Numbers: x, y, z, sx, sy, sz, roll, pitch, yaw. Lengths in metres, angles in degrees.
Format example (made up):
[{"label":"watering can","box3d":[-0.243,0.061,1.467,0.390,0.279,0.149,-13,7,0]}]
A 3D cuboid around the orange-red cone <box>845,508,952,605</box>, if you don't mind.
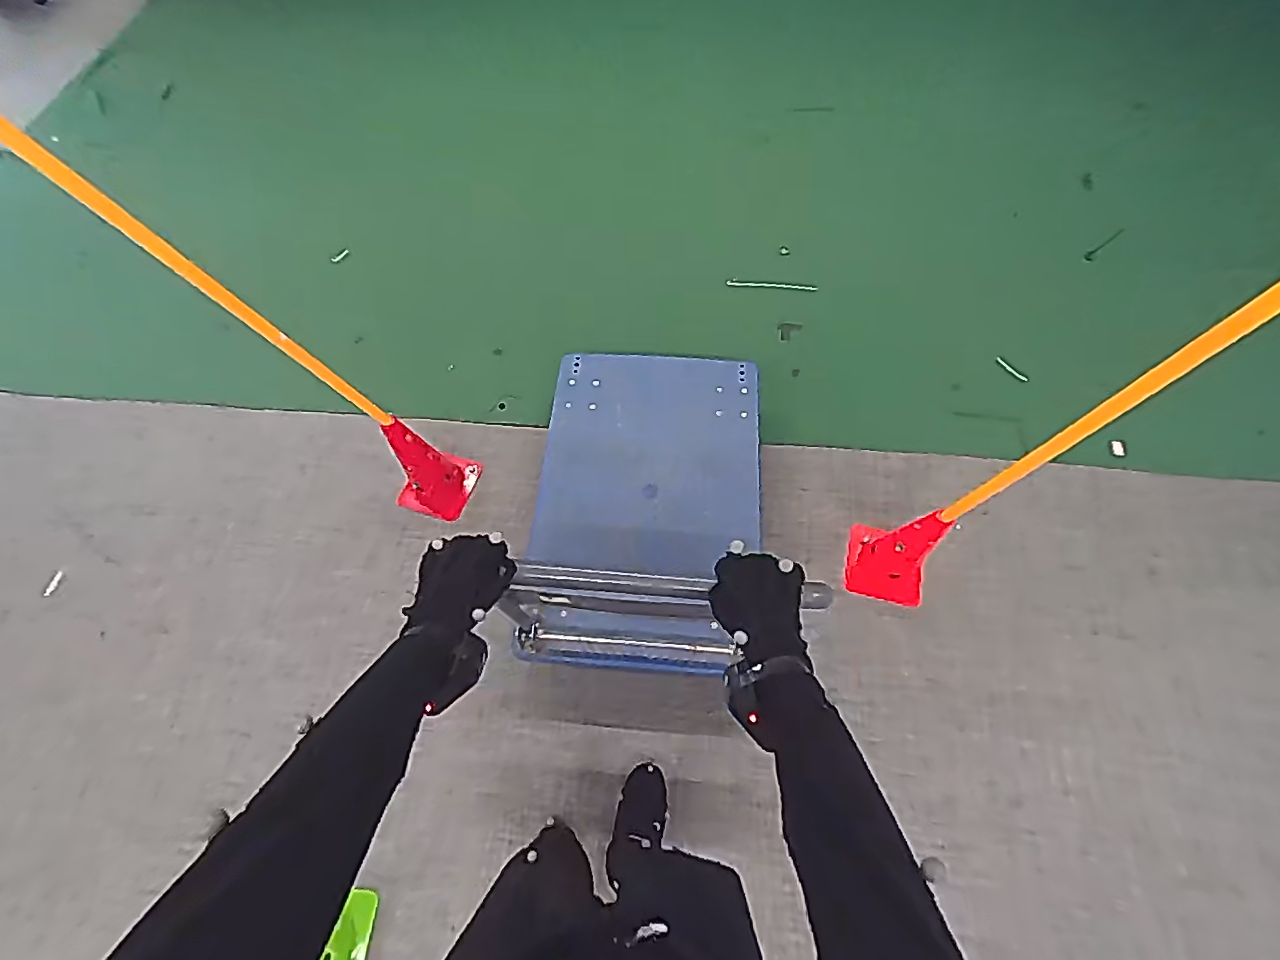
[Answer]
[{"label":"orange-red cone","box3d":[0.658,0.152,1.312,0.198,0.360,0.199,14,67,9]}]
